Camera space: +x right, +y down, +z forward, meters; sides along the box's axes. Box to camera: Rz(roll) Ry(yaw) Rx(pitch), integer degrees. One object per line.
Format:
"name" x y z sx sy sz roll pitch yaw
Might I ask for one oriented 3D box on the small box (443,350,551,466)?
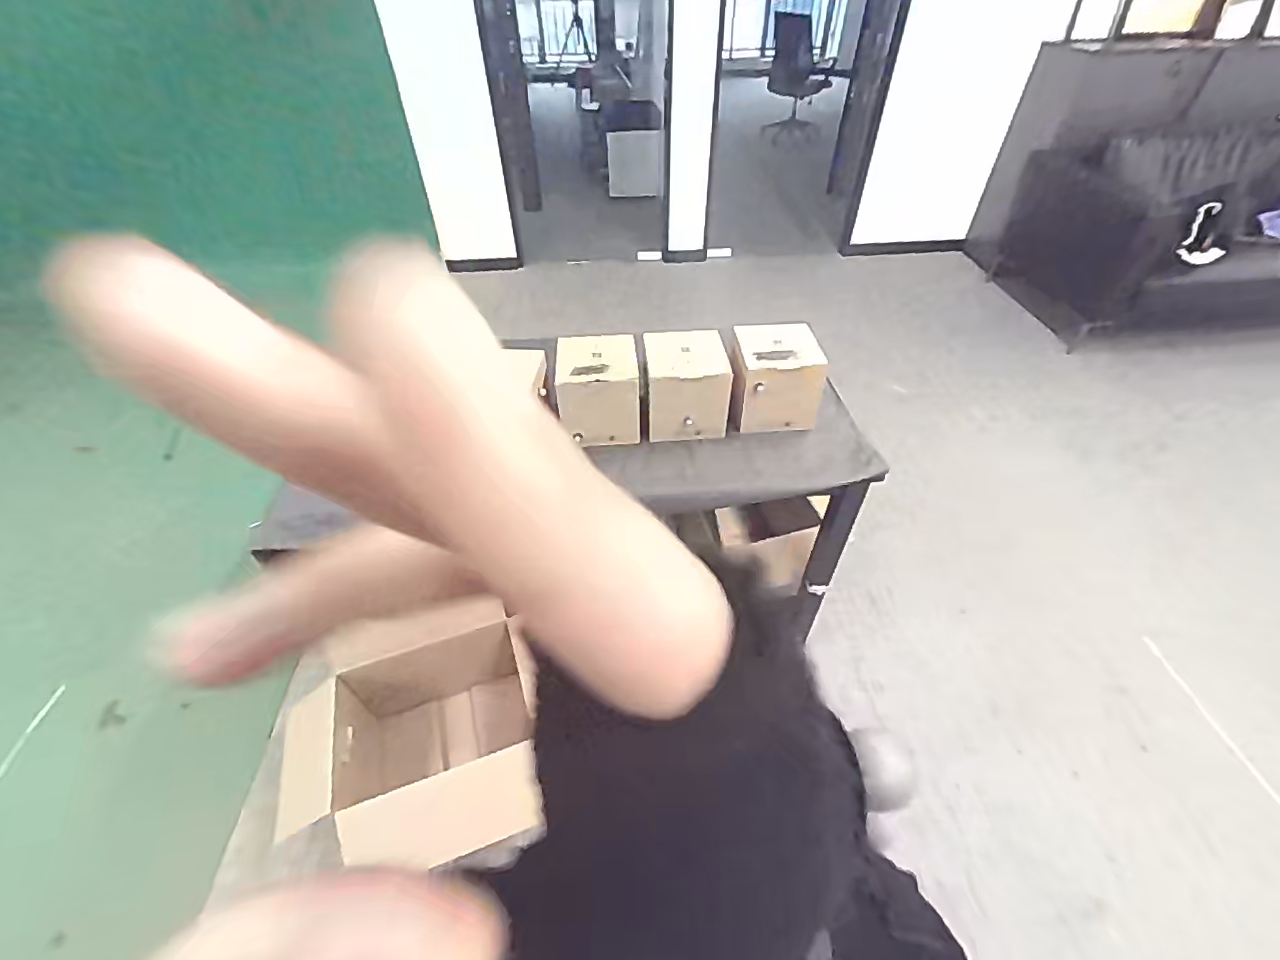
"small box" -0.287 -0.151 1.130 0.168 0.176 0.179 2 45 3
